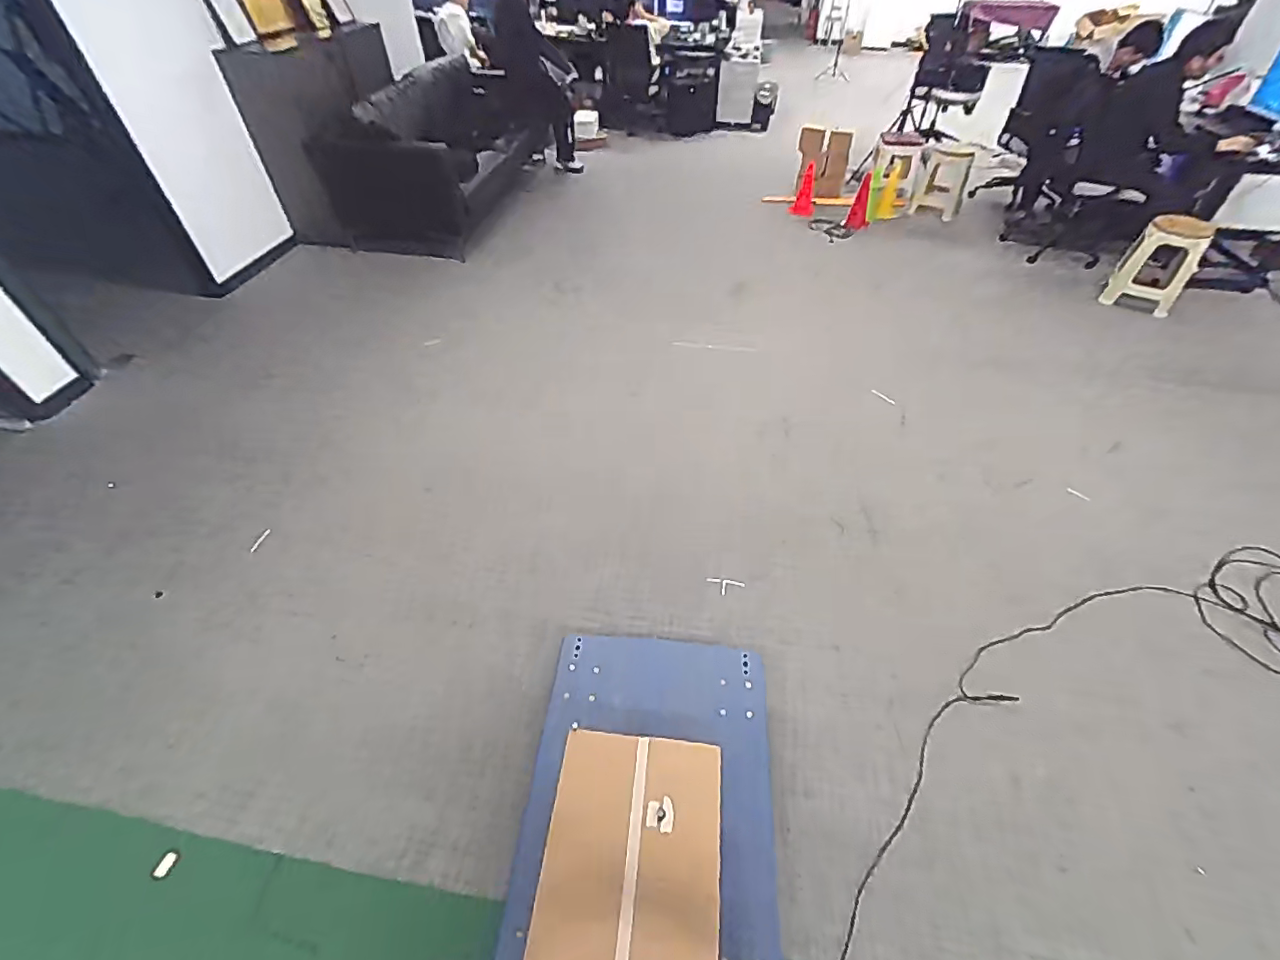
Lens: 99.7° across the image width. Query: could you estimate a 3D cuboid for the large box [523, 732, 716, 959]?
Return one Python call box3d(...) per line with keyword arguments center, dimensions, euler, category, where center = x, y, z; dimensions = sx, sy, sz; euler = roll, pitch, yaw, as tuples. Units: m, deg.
box3d(center=(-0.019, 0.781, 1.078), dimensions=(0.320, 0.320, 0.408), euler=(5, 44, 4), category="large box")
